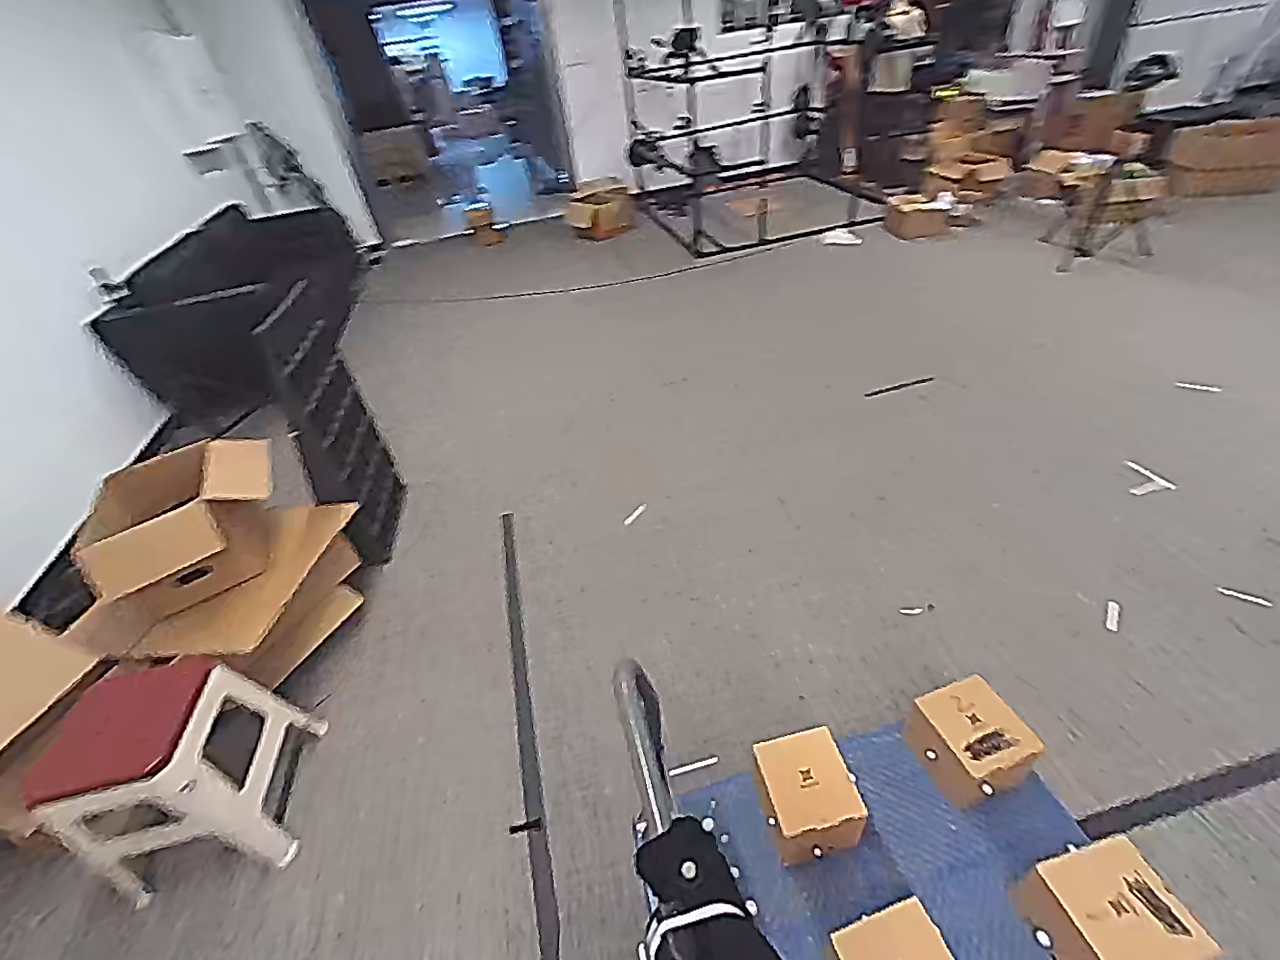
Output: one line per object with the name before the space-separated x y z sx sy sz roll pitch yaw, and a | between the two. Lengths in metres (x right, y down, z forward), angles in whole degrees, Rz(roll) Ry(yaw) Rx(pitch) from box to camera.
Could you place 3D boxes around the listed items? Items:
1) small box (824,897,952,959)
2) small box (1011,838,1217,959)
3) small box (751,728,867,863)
small box | 0.418 0.832 0.878 0.168 0.176 0.179 -16 39 -9
small box | 0.780 0.747 0.915 0.179 0.176 0.168 -15 39 -6
small box | 0.336 0.652 1.118 0.168 0.176 0.179 -12 41 -5
